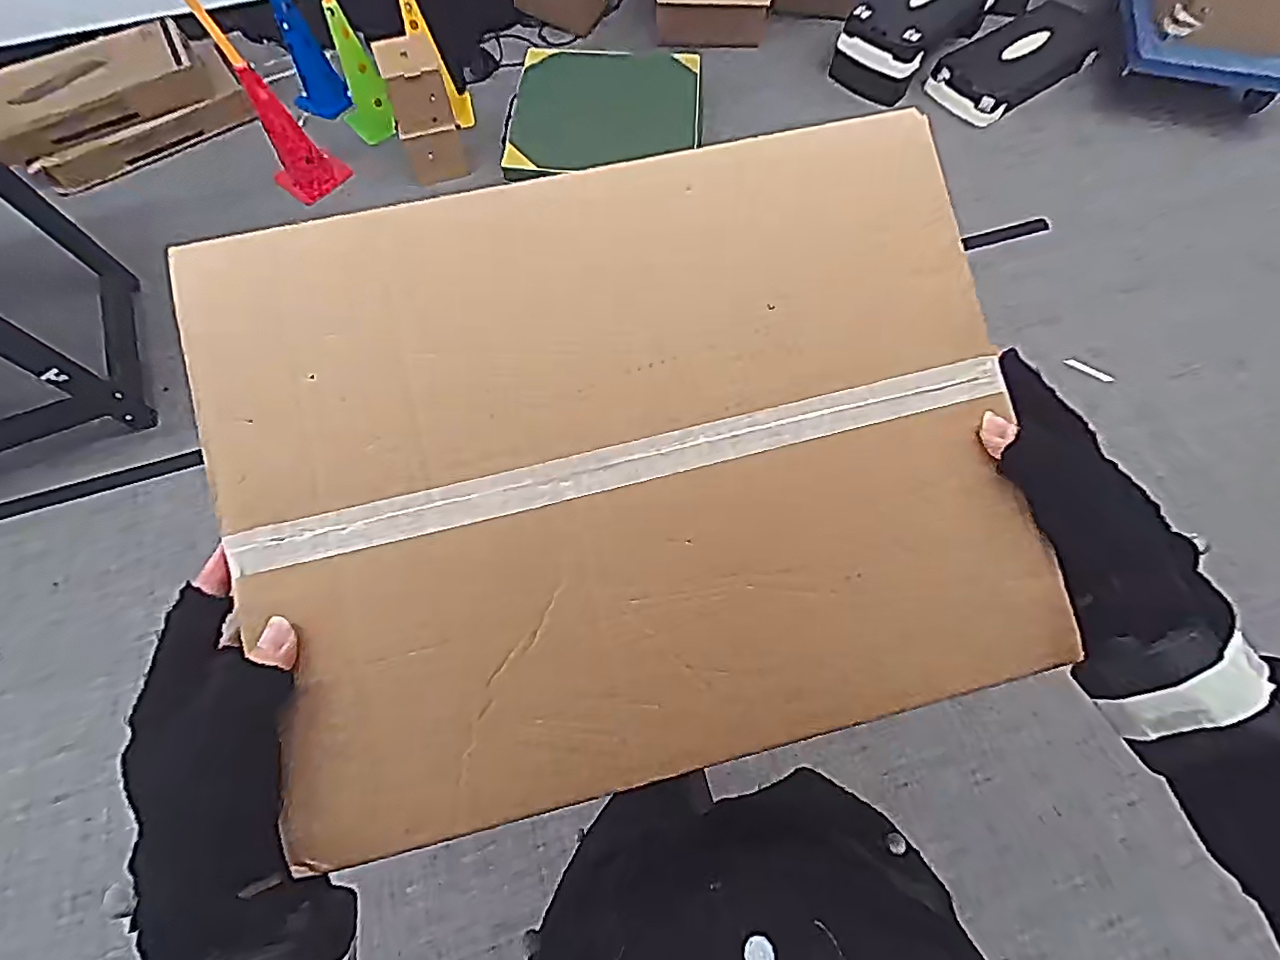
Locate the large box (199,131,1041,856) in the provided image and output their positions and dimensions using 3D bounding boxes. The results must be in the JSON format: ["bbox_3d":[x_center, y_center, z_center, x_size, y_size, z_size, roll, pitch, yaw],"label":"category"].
[{"bbox_3d":[-0.012,0.001,0.437,0.408,0.320,0.320,-13,86,-5],"label":"large box"}]
